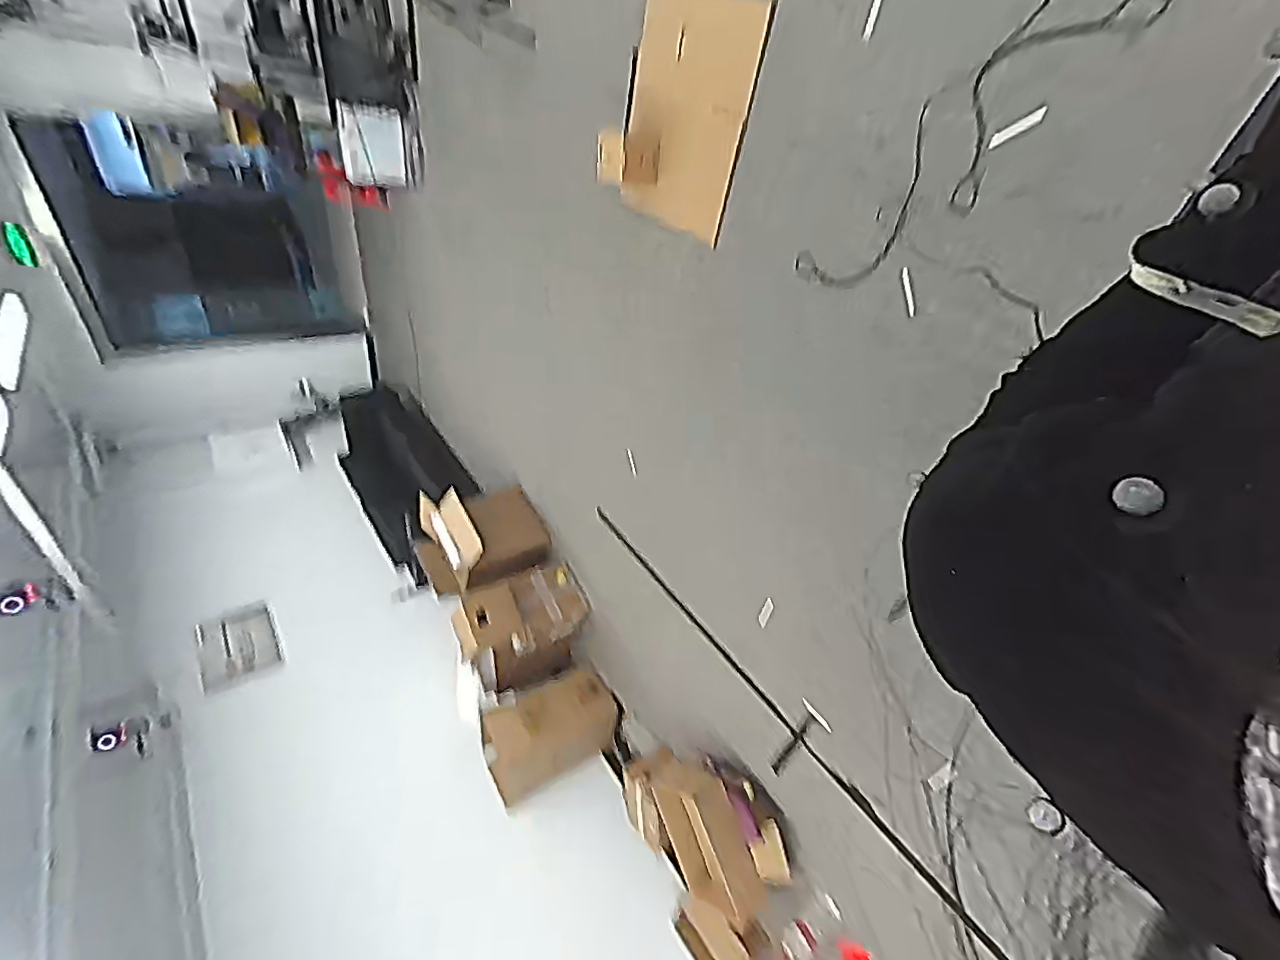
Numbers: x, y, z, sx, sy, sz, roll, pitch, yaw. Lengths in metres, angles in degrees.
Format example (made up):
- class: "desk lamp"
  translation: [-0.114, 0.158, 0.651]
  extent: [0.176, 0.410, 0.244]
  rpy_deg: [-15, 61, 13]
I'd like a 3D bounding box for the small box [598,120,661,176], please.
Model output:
- class: "small box"
  translation: [-0.039, -1.264, 2.057]
  extent: [0.179, 0.176, 0.168]
  rpy_deg: [39, 135, 39]
